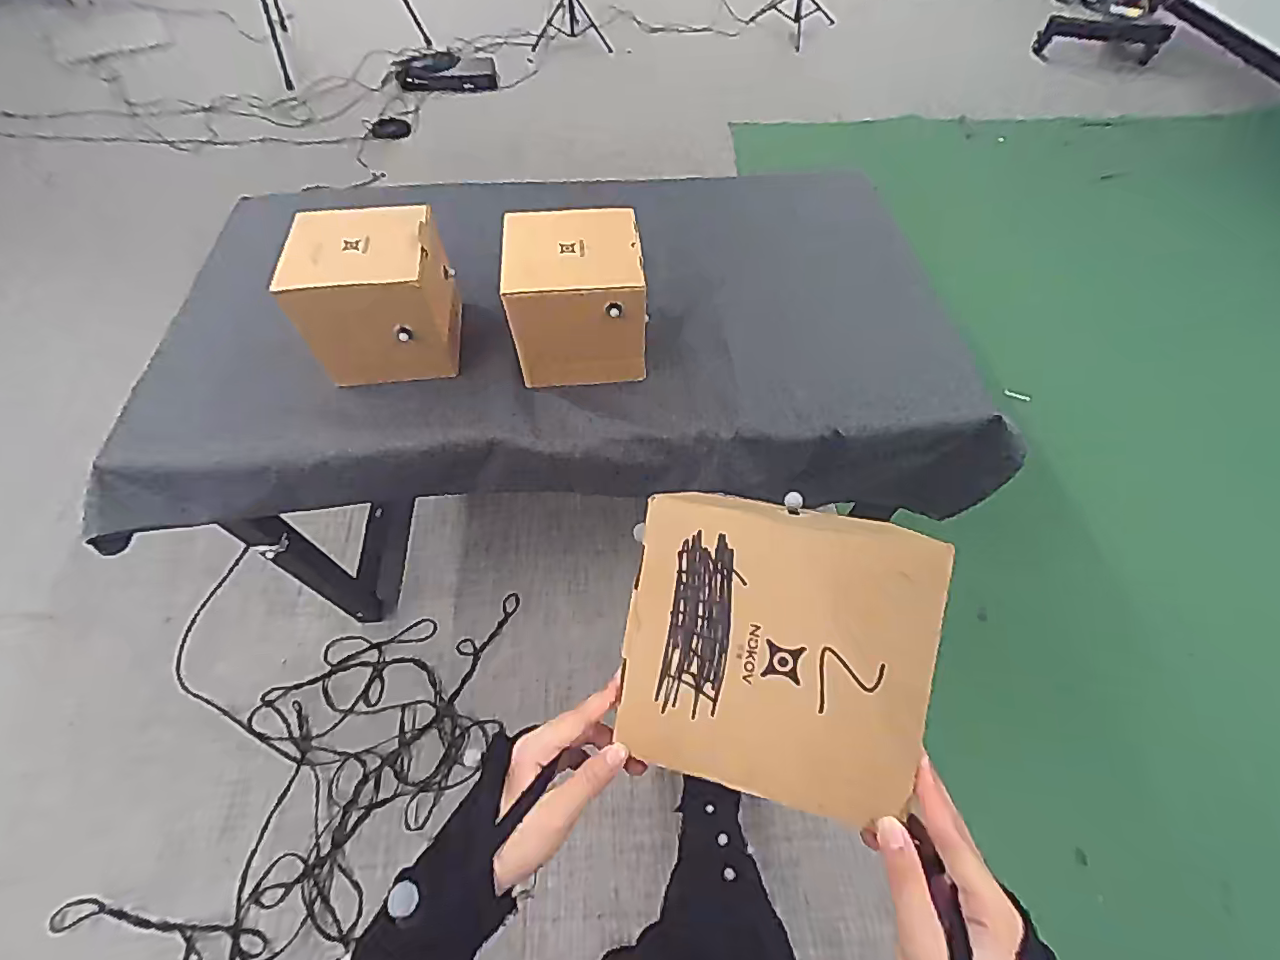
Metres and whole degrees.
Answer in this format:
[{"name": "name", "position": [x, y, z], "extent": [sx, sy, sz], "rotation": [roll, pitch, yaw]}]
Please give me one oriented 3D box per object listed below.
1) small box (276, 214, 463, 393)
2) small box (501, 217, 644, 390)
[{"name": "small box", "position": [-0.358, -0.242, 0.758], "extent": [0.179, 0.176, 0.168], "rotation": [-7, 56, -4]}, {"name": "small box", "position": [-0.088, -0.241, 0.759], "extent": [0.179, 0.176, 0.168], "rotation": [-4, 57, -4]}]
